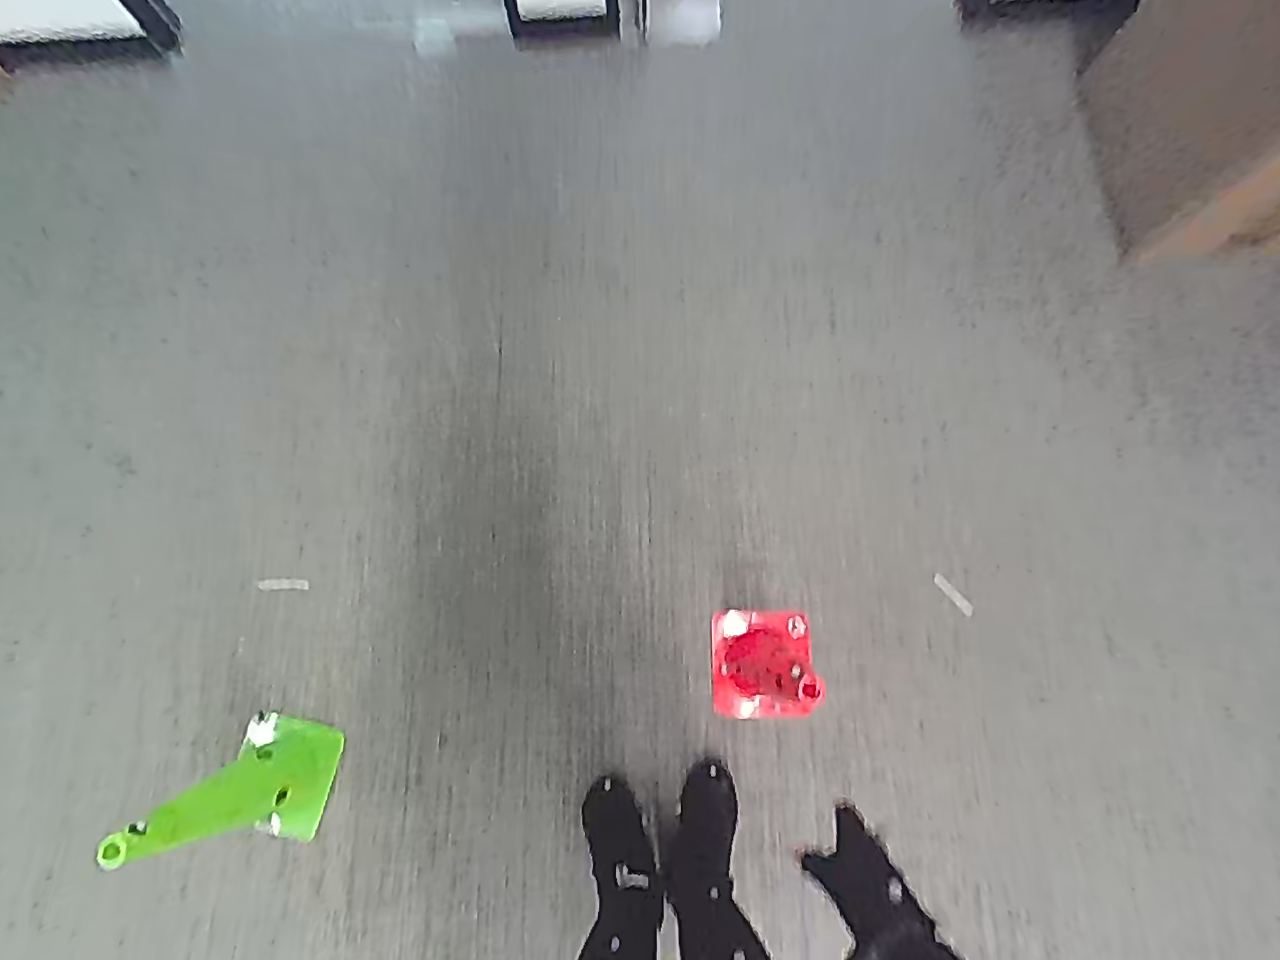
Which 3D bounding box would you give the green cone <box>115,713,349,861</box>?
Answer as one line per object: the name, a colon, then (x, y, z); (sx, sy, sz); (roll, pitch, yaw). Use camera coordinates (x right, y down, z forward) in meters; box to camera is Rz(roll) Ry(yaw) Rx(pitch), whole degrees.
green cone: (-0.704, 0.547, 0.916); (0.202, 0.368, 0.200); (11, 77, 4)
